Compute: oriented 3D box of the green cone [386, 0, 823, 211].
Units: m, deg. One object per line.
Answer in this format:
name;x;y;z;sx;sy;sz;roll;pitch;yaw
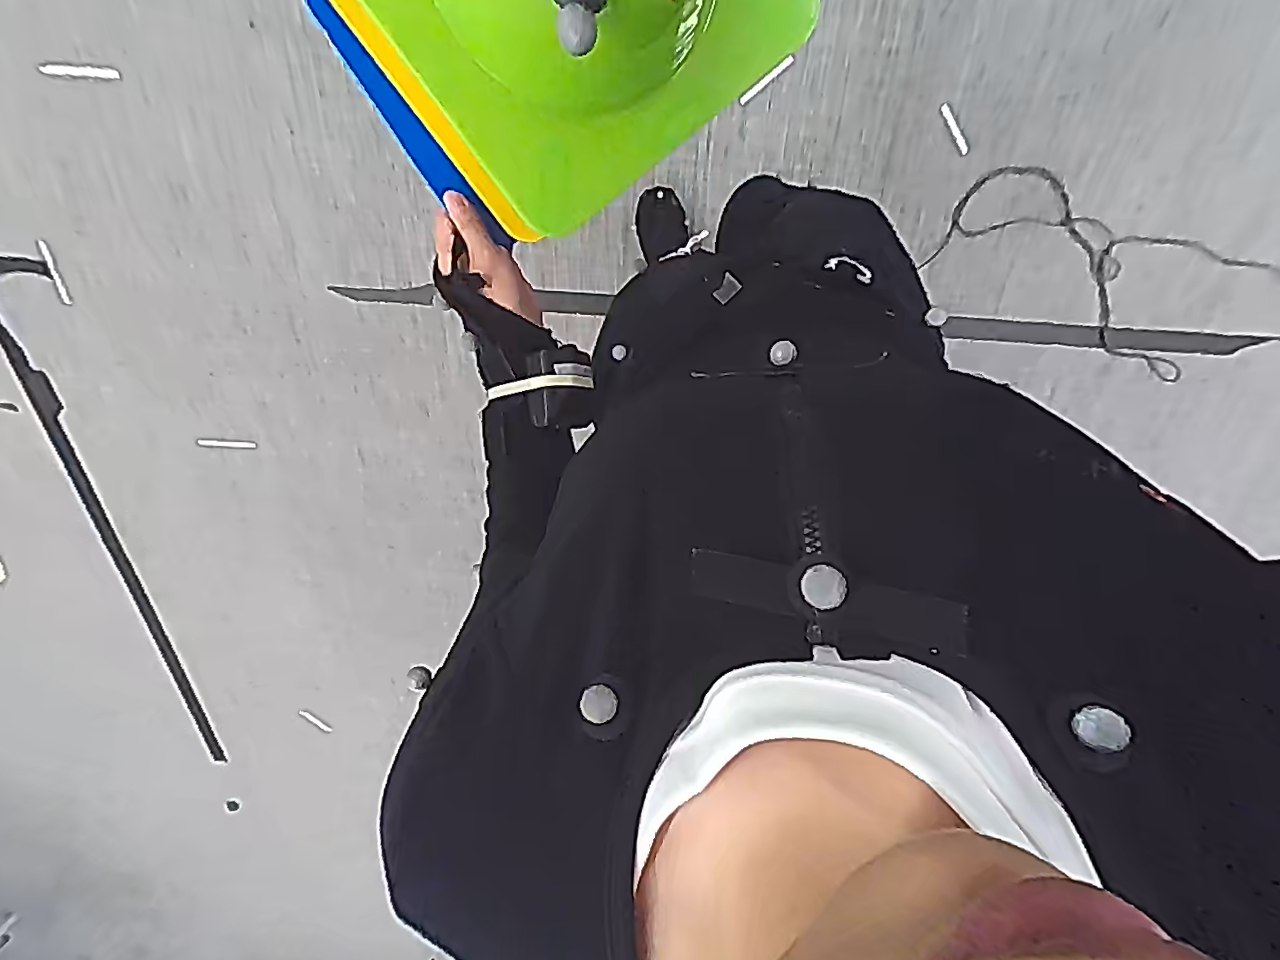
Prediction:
green cone;0.010;-0.212;0.085;0.200;0.368;0.202;-39;112;1
